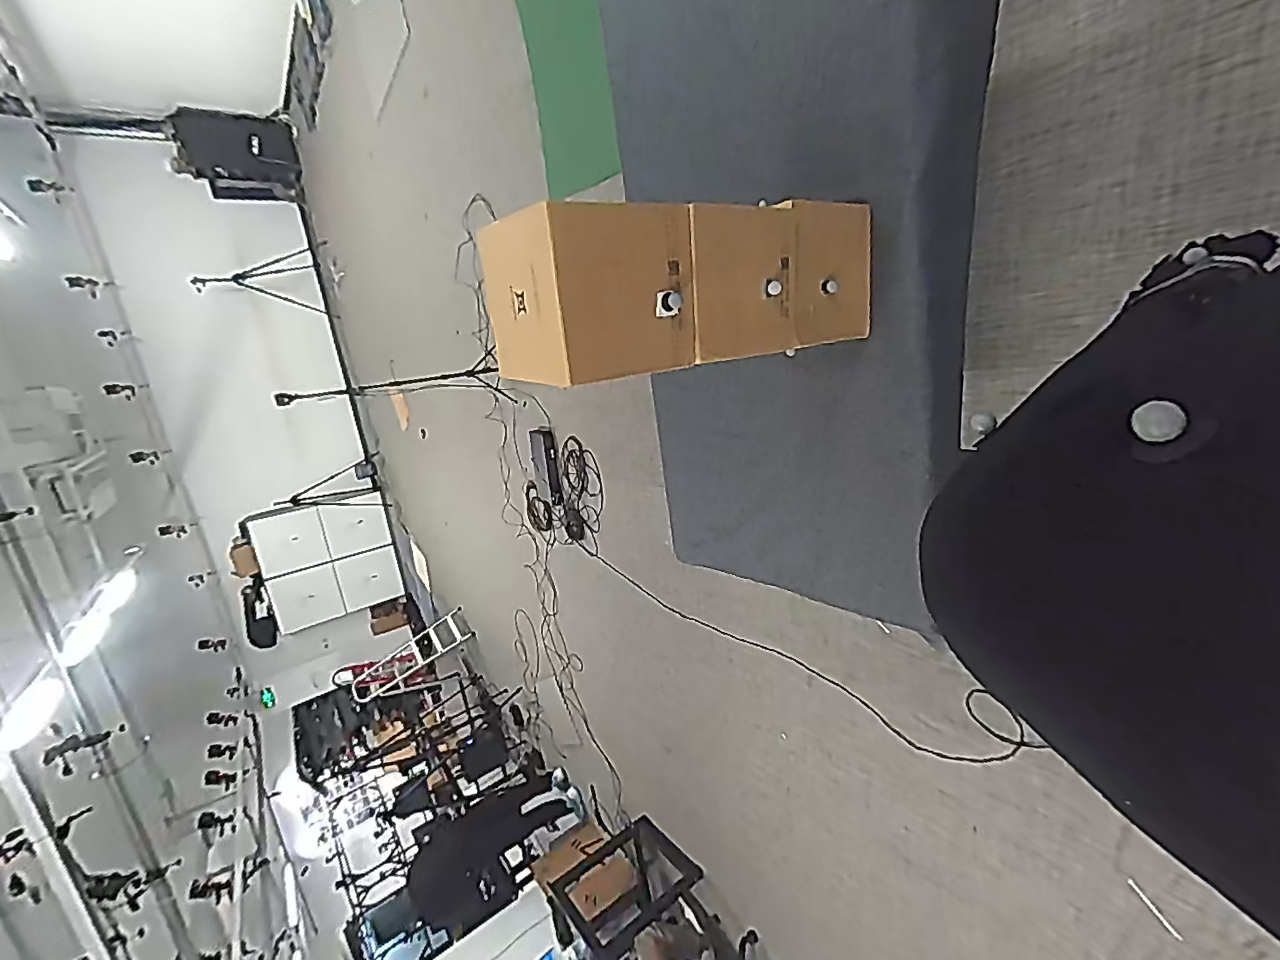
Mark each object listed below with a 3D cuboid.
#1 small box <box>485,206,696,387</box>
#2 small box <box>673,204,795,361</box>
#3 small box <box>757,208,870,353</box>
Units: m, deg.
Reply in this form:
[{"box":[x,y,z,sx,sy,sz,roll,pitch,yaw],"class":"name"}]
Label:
[{"box":[-0.054,-0.205,0.617,0.179,0.176,0.168,18,120,52],"class":"small box"},{"box":[0.078,-0.245,0.701,0.179,0.176,0.168,16,117,55],"class":"small box"},{"box":[0.215,-0.284,0.784,0.168,0.176,0.179,15,117,54],"class":"small box"}]
